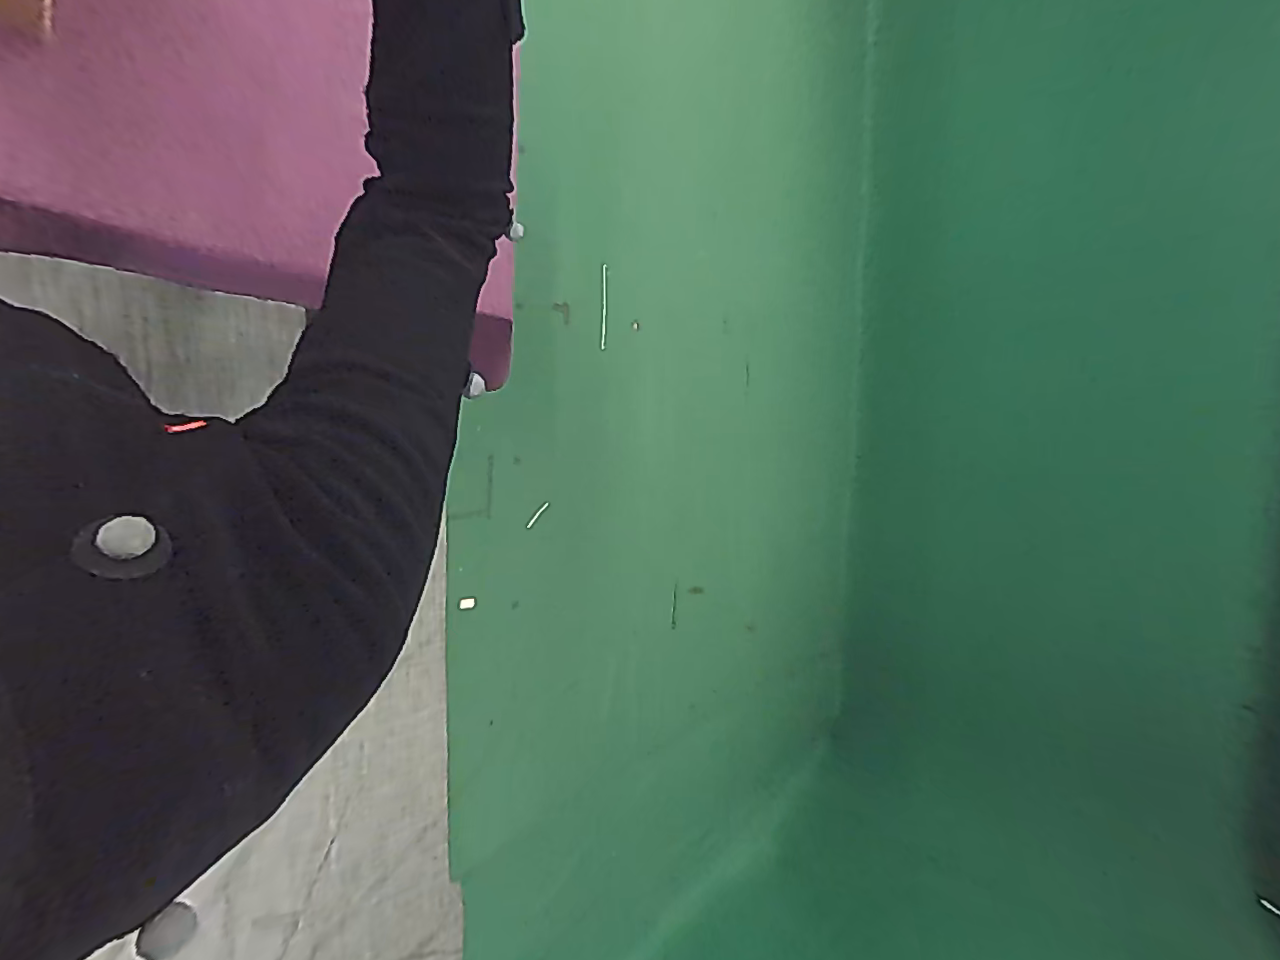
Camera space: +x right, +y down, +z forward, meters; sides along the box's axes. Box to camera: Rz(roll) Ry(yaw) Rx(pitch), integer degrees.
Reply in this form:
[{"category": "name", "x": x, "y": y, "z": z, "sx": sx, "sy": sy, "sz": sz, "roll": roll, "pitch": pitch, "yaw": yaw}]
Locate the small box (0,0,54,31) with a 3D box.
[{"category": "small box", "x": -0.552, "y": -0.504, "z": 0.401, "sx": 0.168, "sy": 0.176, "sz": 0.179, "roll": 4, "pitch": 92, "yaw": -47}]
